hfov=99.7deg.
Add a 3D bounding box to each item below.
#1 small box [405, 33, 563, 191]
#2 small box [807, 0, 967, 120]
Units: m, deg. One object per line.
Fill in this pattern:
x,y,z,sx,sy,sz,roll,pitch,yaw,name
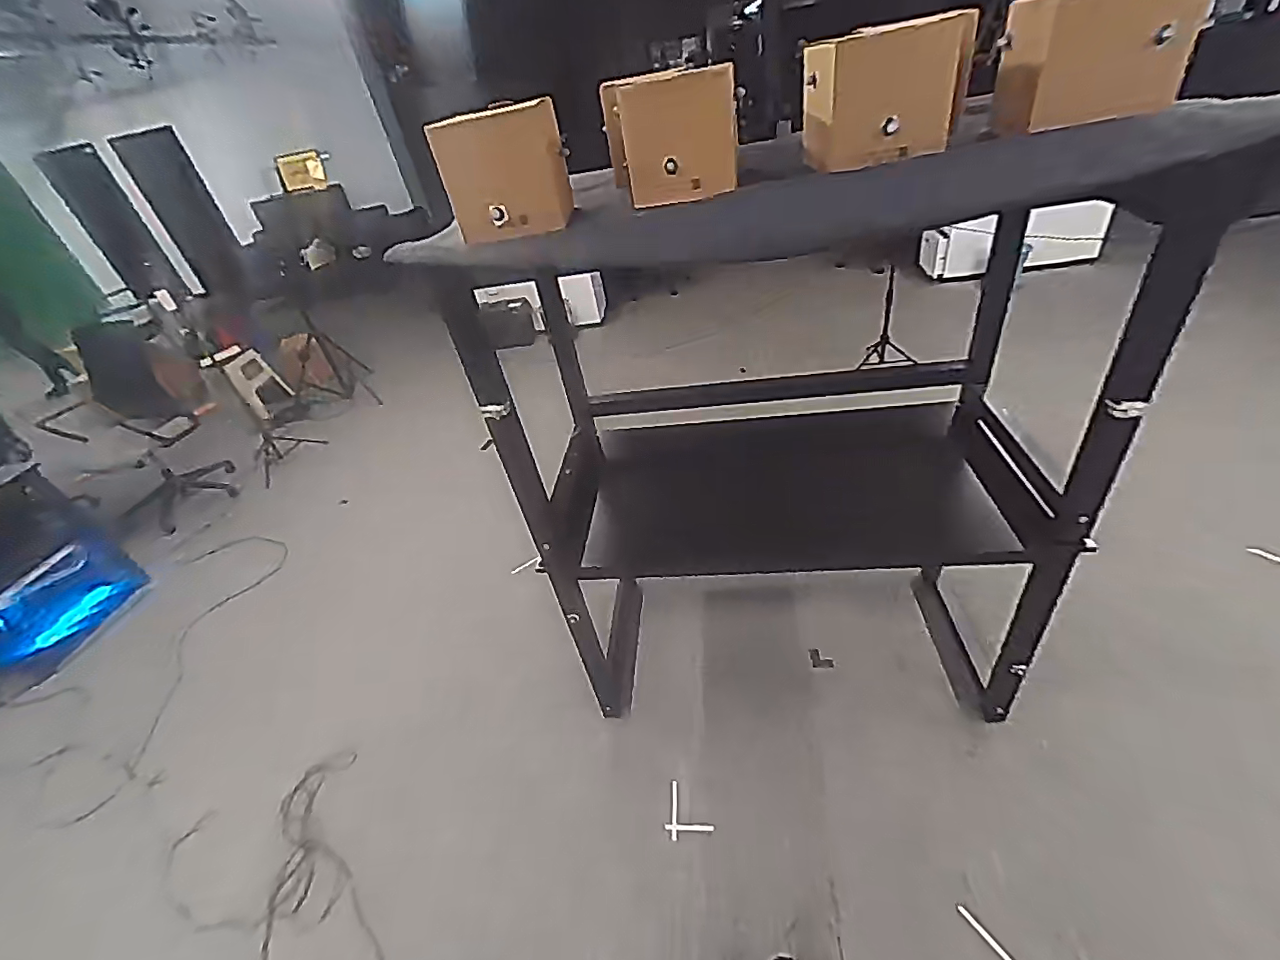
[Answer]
-0.220,-0.553,0.822,0.168,0.176,0.179,-8,38,6,small box
0.343,-0.635,0.782,0.168,0.176,0.179,-8,38,6,small box
